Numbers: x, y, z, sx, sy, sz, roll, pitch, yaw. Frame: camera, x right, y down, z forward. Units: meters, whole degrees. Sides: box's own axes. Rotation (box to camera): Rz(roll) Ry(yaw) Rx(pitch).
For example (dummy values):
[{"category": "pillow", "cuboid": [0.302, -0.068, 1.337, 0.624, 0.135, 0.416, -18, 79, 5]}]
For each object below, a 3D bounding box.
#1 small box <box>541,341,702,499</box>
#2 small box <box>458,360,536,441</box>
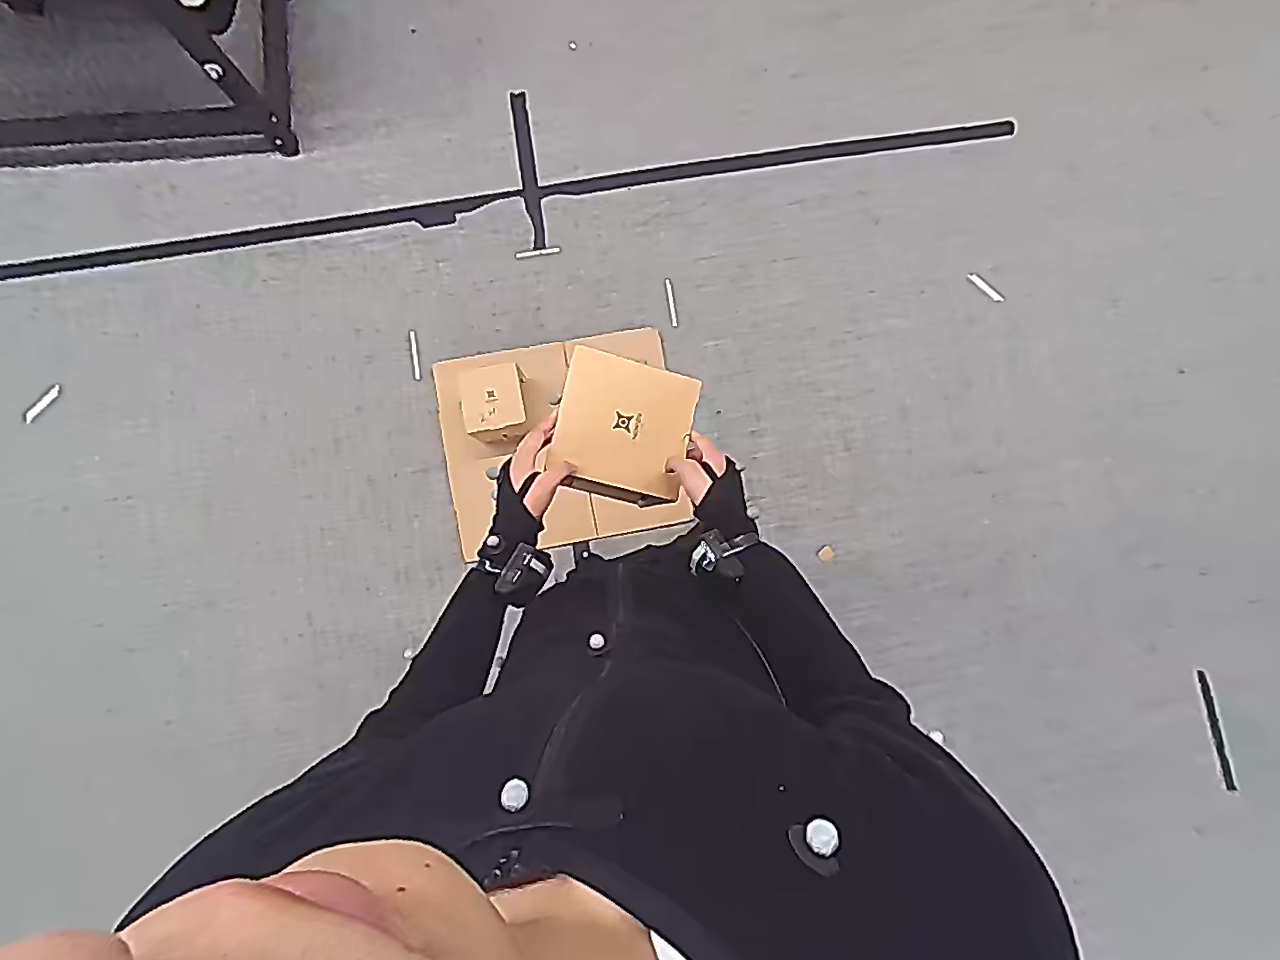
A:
[{"category": "small box", "cuboid": [-0.035, -0.070, 0.758, 0.179, 0.176, 0.168, 14, 83, -12]}, {"category": "small box", "cuboid": [-0.402, -0.221, 1.539, 0.168, 0.176, 0.179, -11, 86, -2]}]
